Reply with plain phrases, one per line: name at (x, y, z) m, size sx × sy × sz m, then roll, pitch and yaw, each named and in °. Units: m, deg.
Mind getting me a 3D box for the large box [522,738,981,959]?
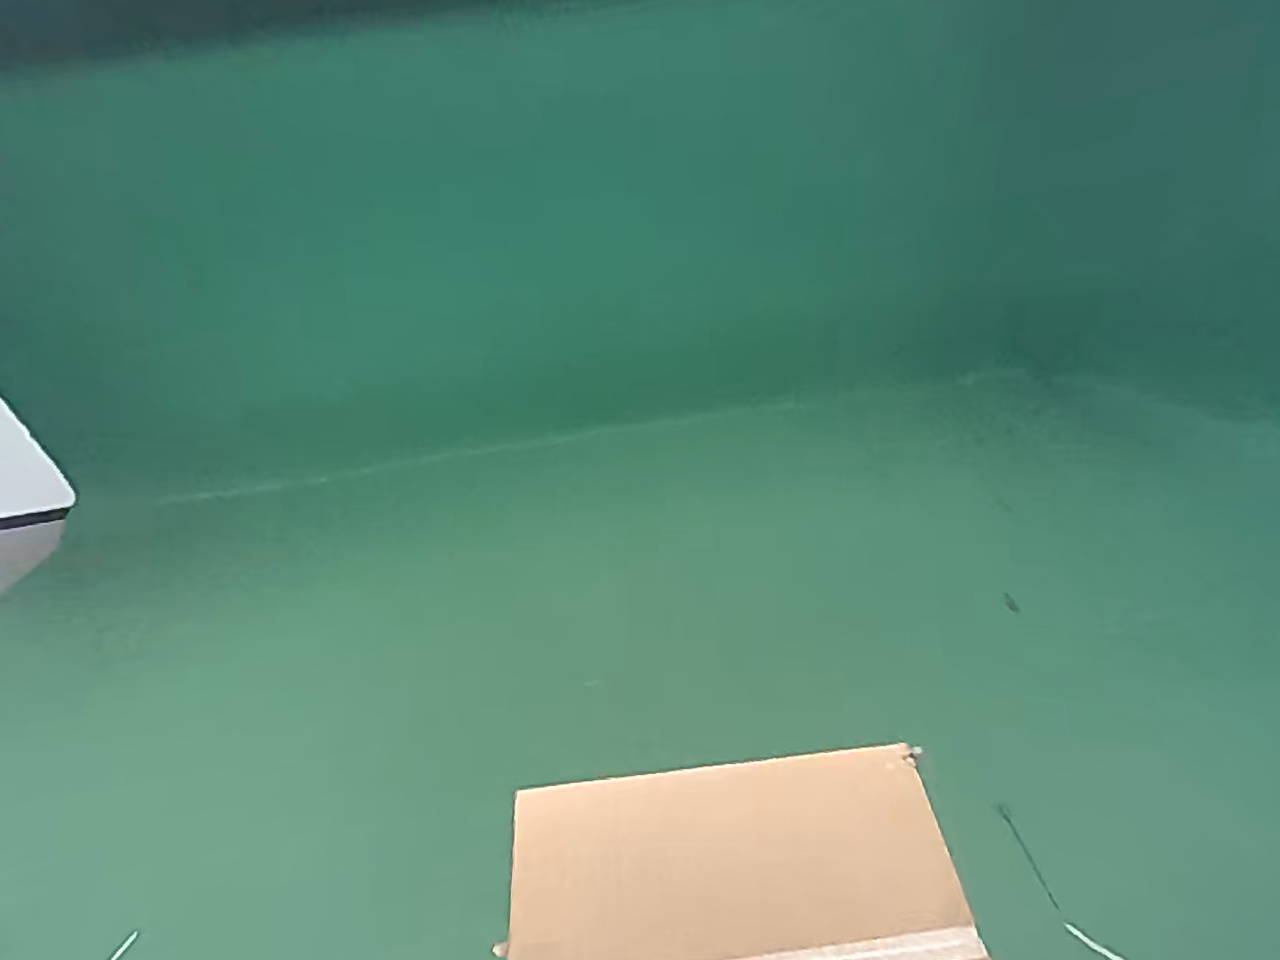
large box at (0.100, 0.510, 0.589) m, size 0.408 × 0.320 × 0.320 m, roll -7°, pitch 53°, yaw -2°
